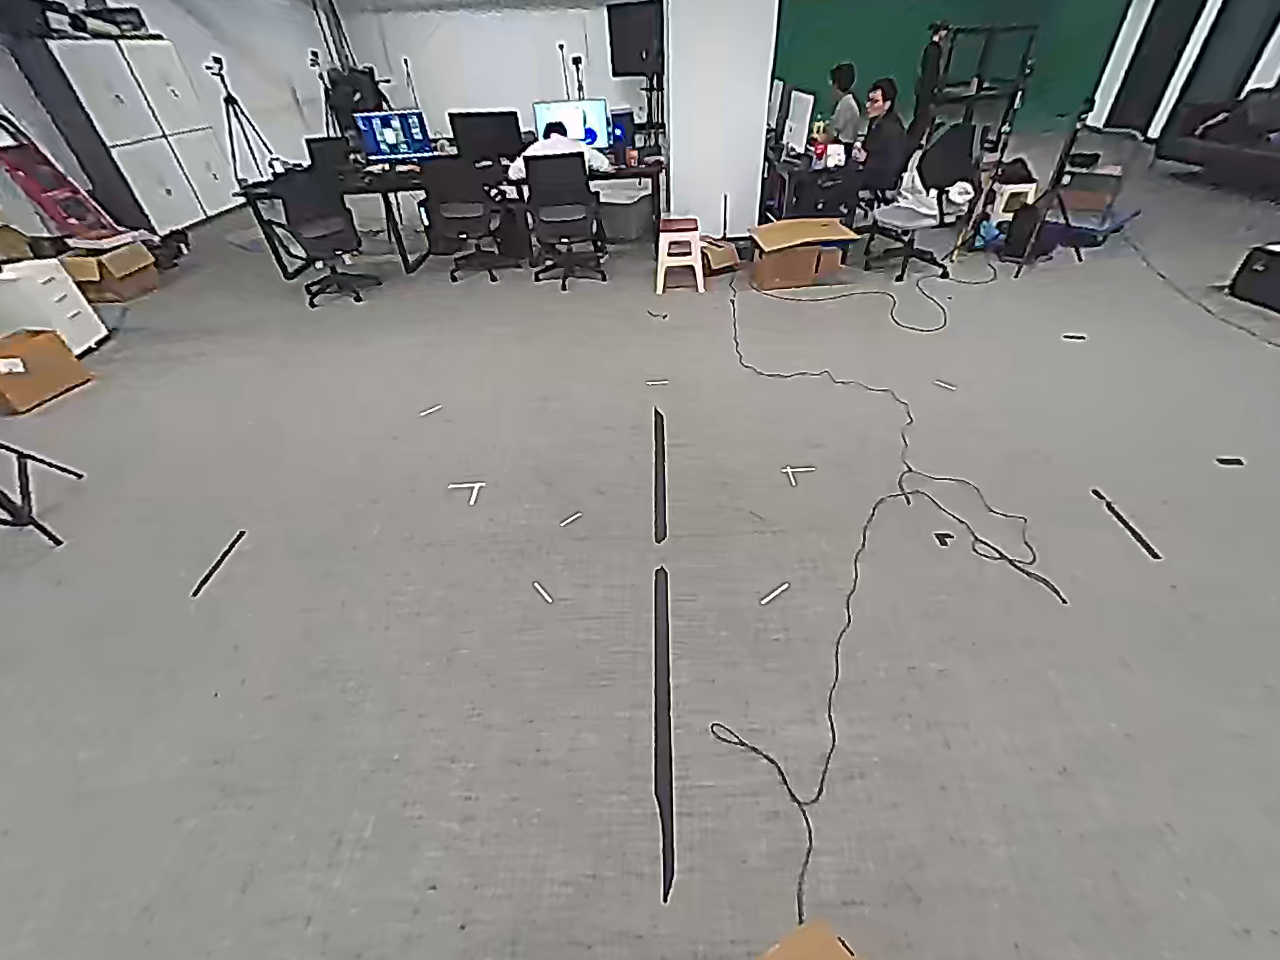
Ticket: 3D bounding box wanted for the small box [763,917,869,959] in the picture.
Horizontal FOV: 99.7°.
[{"bbox_3d":[0.153,0.505,0.408,0.179,0.168,0.176,-25,82,-13],"label":"small box"}]
